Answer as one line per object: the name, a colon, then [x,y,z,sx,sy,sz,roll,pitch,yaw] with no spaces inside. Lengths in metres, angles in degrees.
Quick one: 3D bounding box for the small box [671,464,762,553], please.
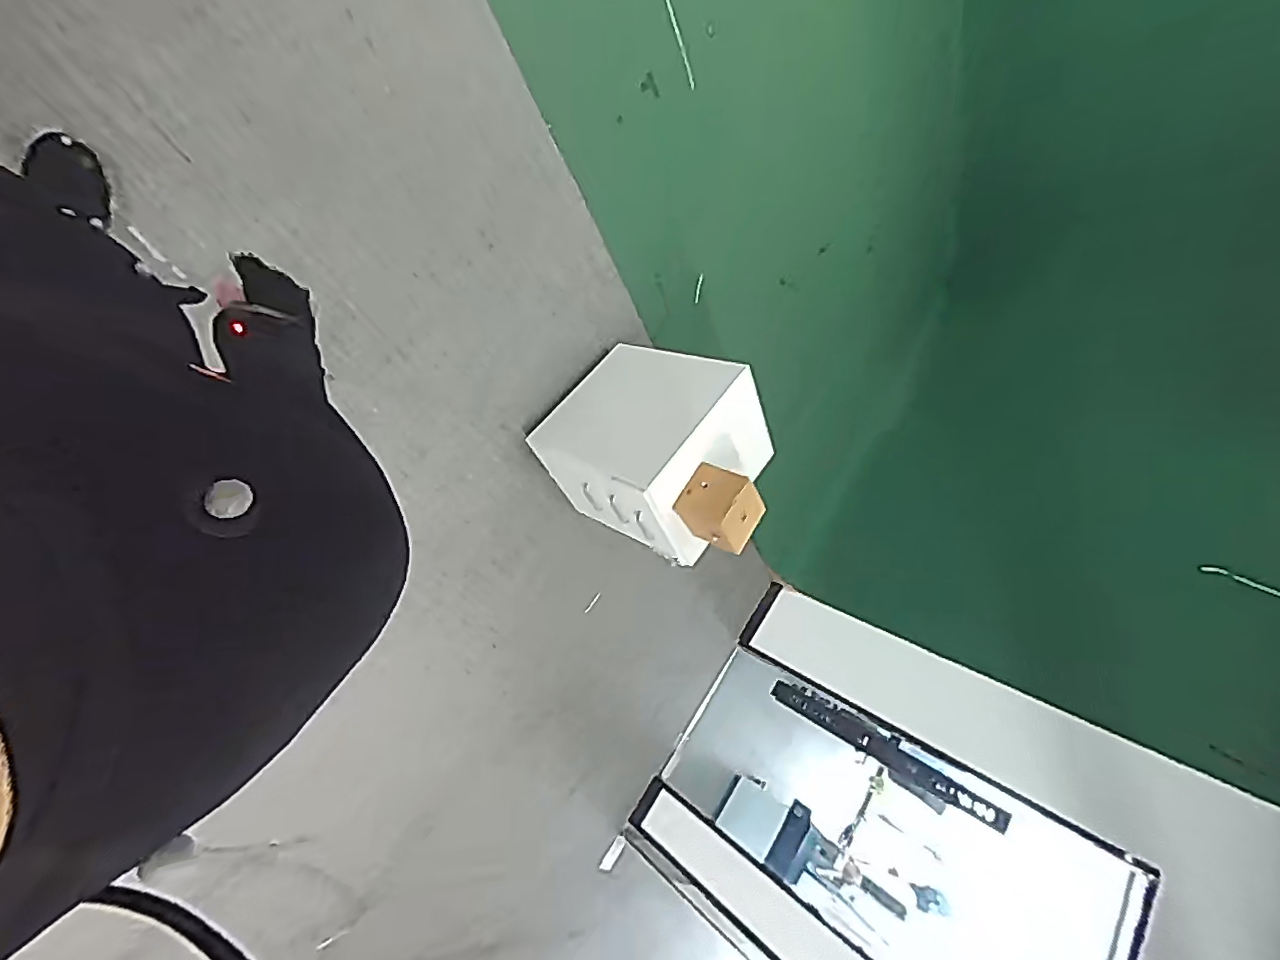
small box: [0.220,0.075,1.550,0.168,0.176,0.179,-55,139,-16]
